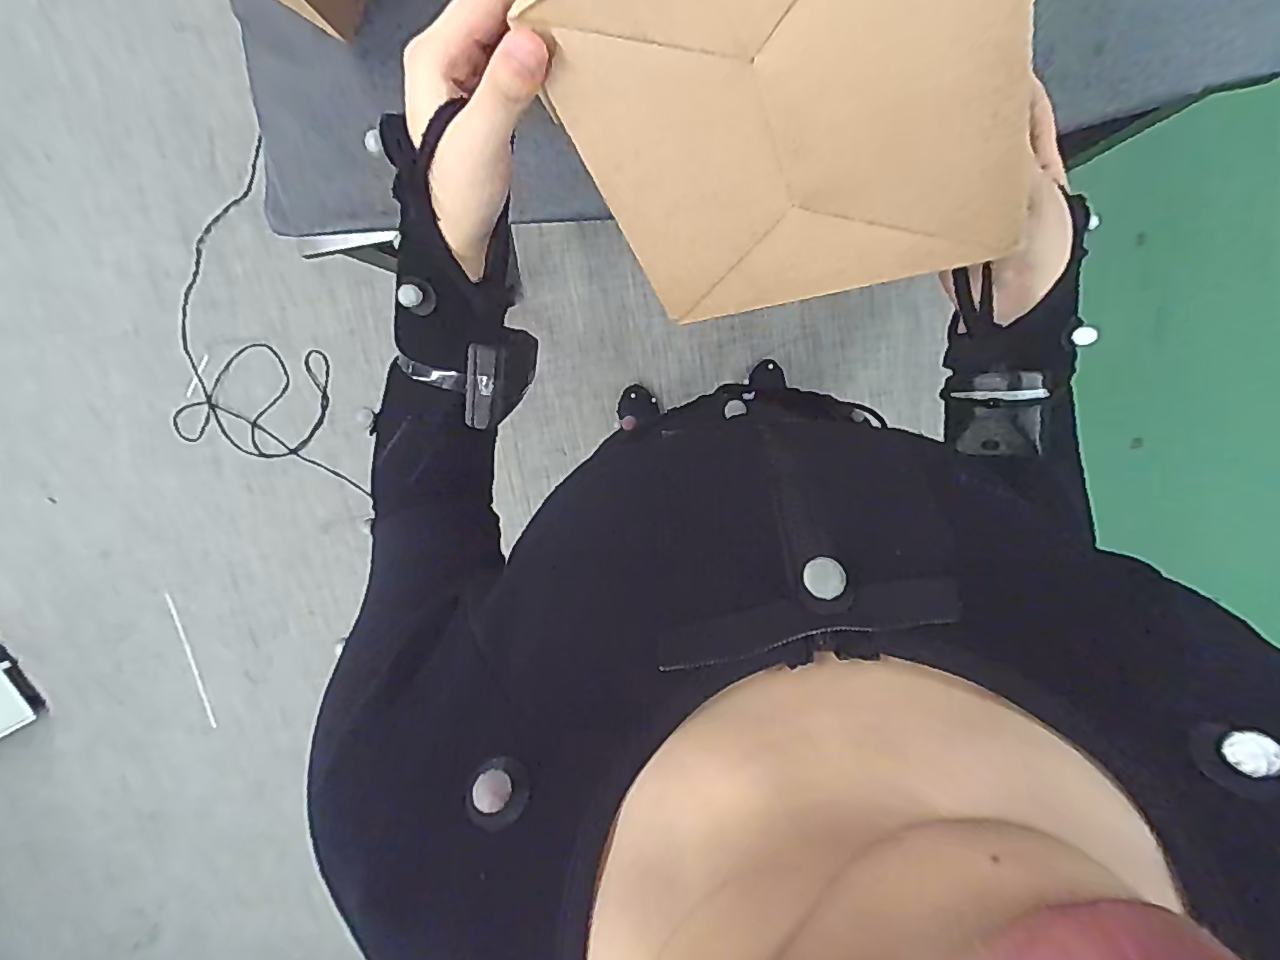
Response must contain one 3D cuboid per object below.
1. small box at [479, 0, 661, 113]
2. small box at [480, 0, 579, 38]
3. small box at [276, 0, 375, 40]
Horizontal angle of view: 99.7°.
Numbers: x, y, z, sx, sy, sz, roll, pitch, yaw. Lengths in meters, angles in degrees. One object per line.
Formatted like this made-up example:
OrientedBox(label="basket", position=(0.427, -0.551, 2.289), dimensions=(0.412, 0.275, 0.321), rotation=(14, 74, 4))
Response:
OrientedBox(label="small box", position=(-0.088, -0.541, 0.581), dimensions=(0.168, 0.176, 0.179), rotation=(-32, 96, 9))
OrientedBox(label="small box", position=(-0.105, -0.506, 0.423), dimensions=(0.168, 0.176, 0.179), rotation=(-43, 94, 10))
OrientedBox(label="small box", position=(-0.400, -0.642, 0.589), dimensions=(0.179, 0.176, 0.168), rotation=(32, 101, -2))
